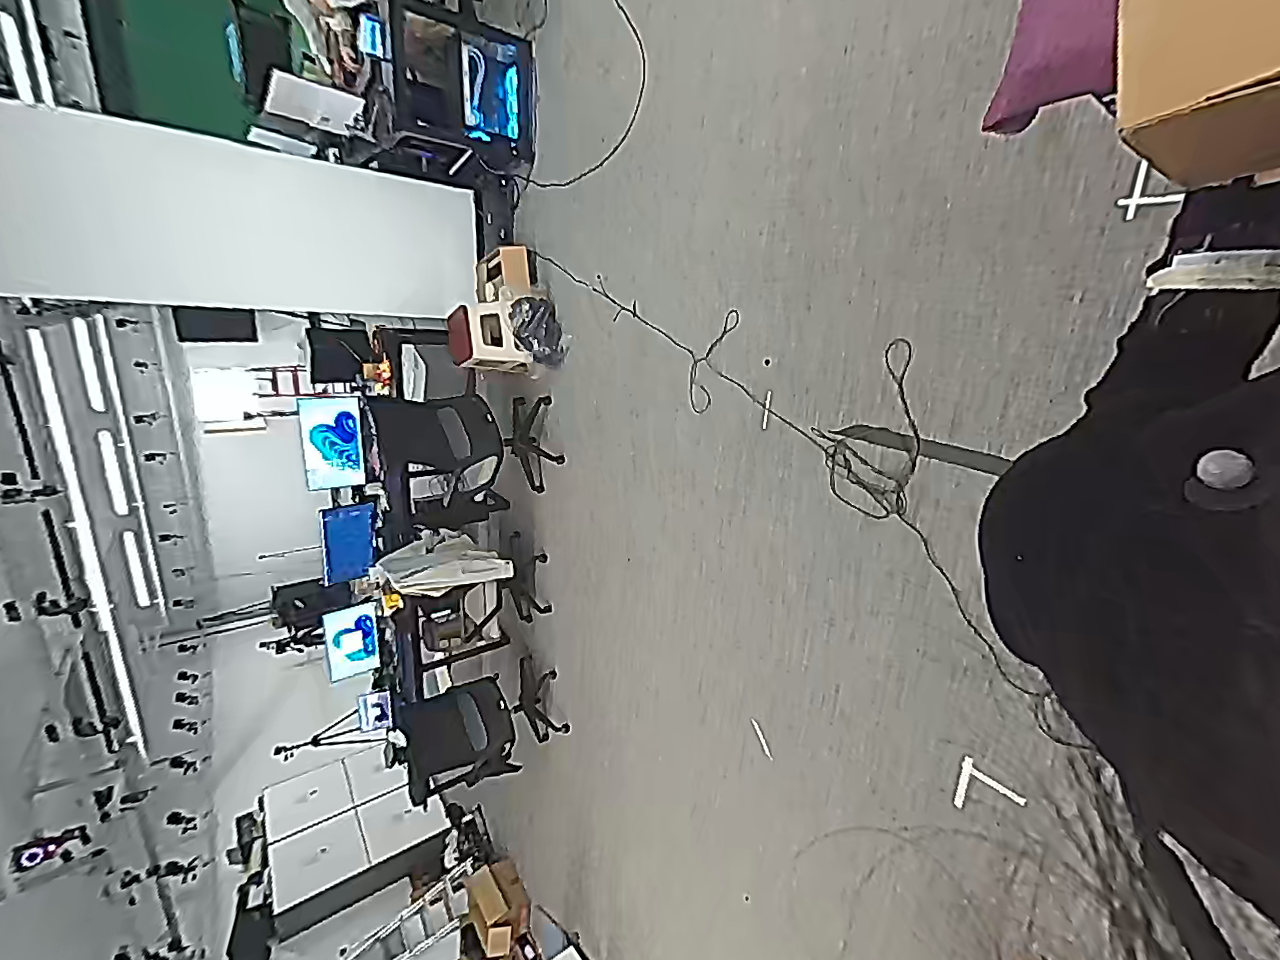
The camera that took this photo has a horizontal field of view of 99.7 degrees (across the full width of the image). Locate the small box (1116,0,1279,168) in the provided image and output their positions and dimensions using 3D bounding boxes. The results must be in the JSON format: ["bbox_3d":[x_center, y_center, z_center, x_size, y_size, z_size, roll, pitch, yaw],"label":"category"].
[{"bbox_3d":[0.340,-0.263,0.238,0.168,0.176,0.179,4,101,53],"label":"small box"}]
